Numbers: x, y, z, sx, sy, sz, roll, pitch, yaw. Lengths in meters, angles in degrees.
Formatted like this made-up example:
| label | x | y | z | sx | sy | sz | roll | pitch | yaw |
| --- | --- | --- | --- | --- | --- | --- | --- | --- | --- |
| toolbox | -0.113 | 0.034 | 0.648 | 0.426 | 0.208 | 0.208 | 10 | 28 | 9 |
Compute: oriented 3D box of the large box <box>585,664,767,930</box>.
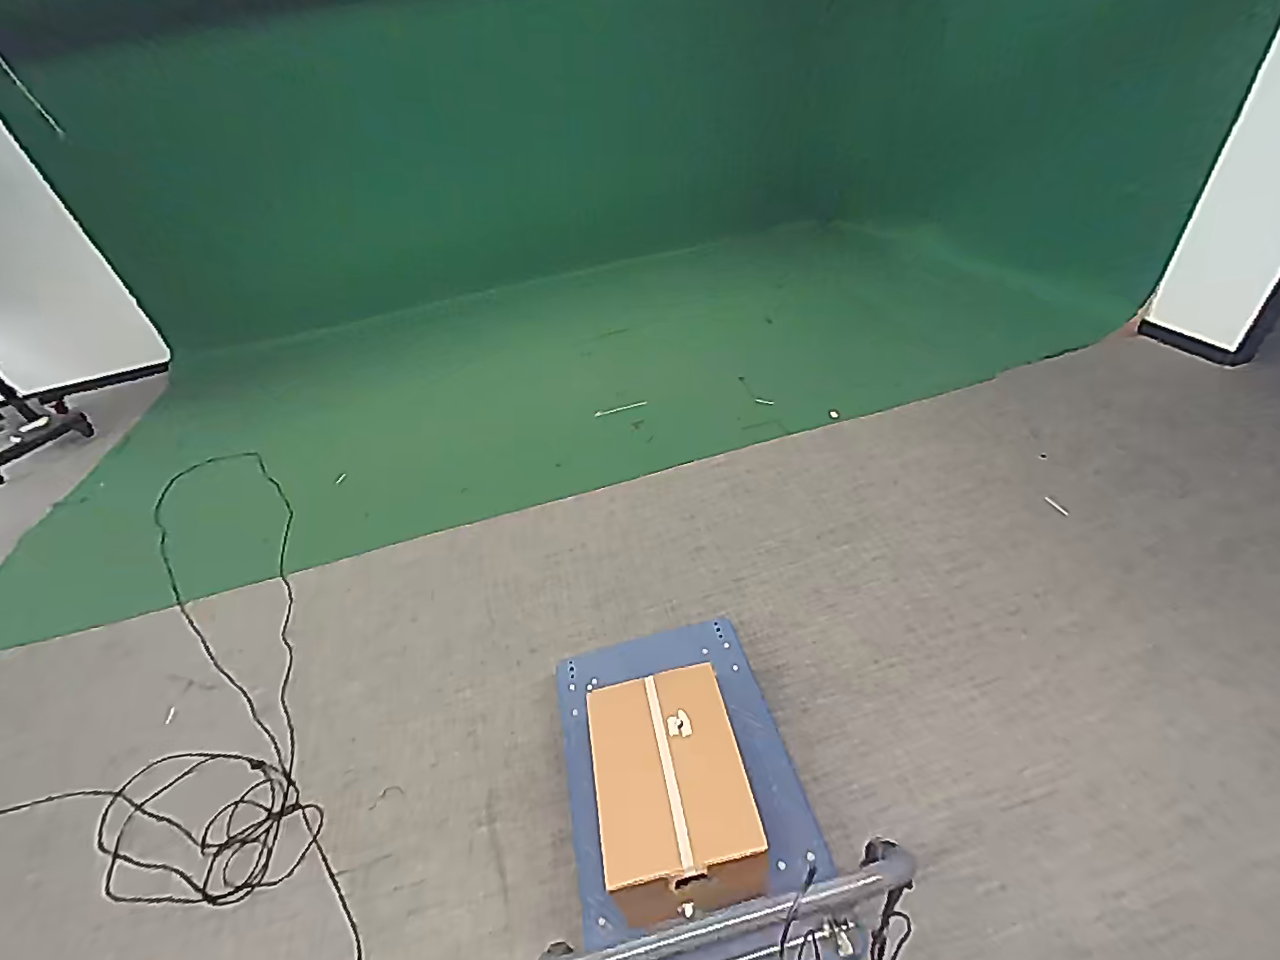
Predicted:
| label | x | y | z | sx | sy | sz | roll | pitch | yaw |
| --- | --- | --- | --- | --- | --- | --- | --- | --- | --- |
| large box | 0.074 | 0.709 | 1.234 | 0.320 | 0.320 | 0.408 | -12 | 39 | -3 |
